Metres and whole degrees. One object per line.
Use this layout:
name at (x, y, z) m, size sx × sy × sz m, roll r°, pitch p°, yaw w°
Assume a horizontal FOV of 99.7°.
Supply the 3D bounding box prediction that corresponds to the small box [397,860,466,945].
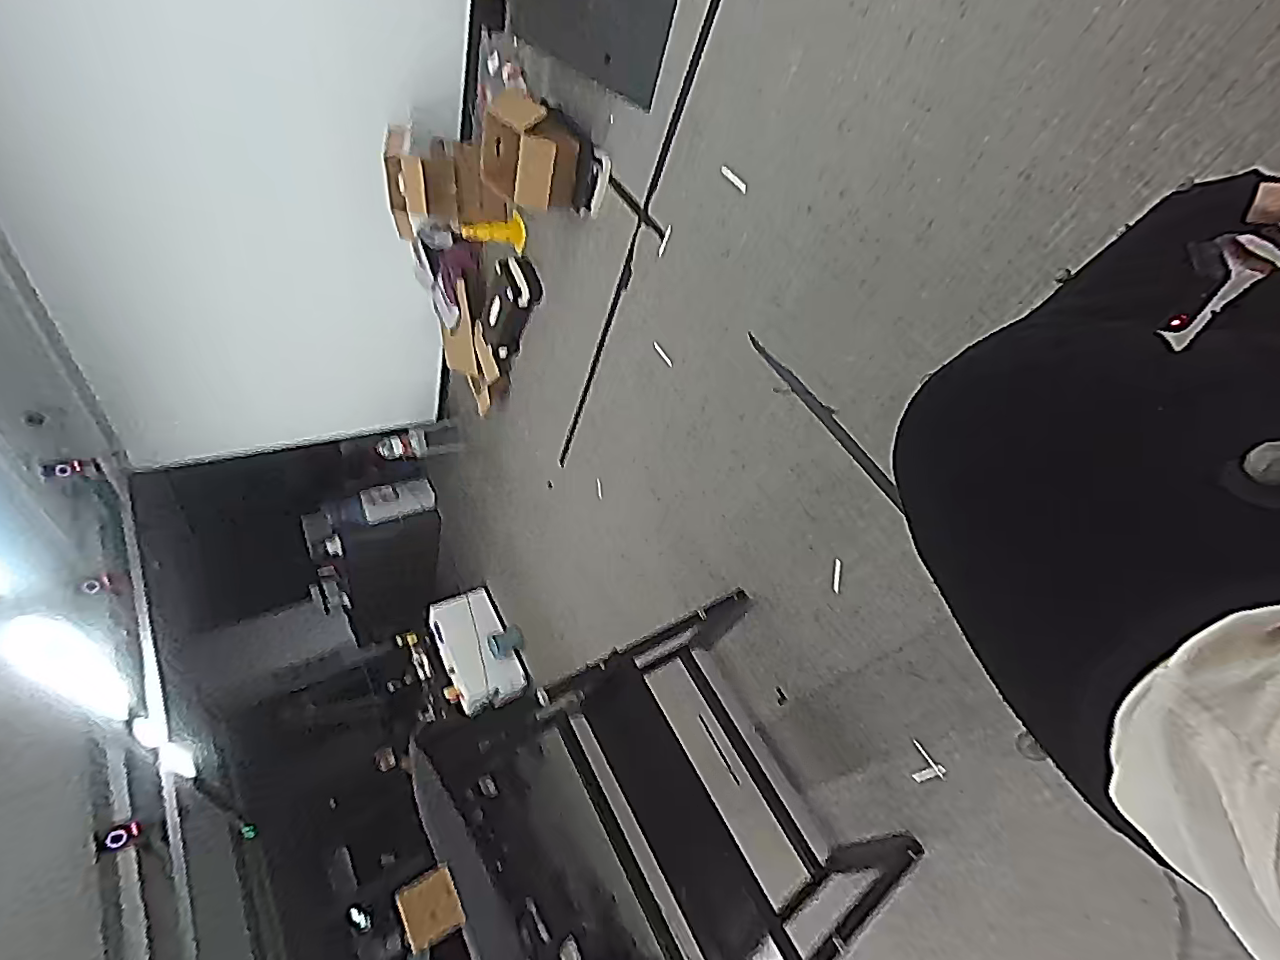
small box at (-0.696, 1.409, 1.808) m, size 0.168 × 0.176 × 0.179 m, roll 55°, pitch 142°, yaw 25°
